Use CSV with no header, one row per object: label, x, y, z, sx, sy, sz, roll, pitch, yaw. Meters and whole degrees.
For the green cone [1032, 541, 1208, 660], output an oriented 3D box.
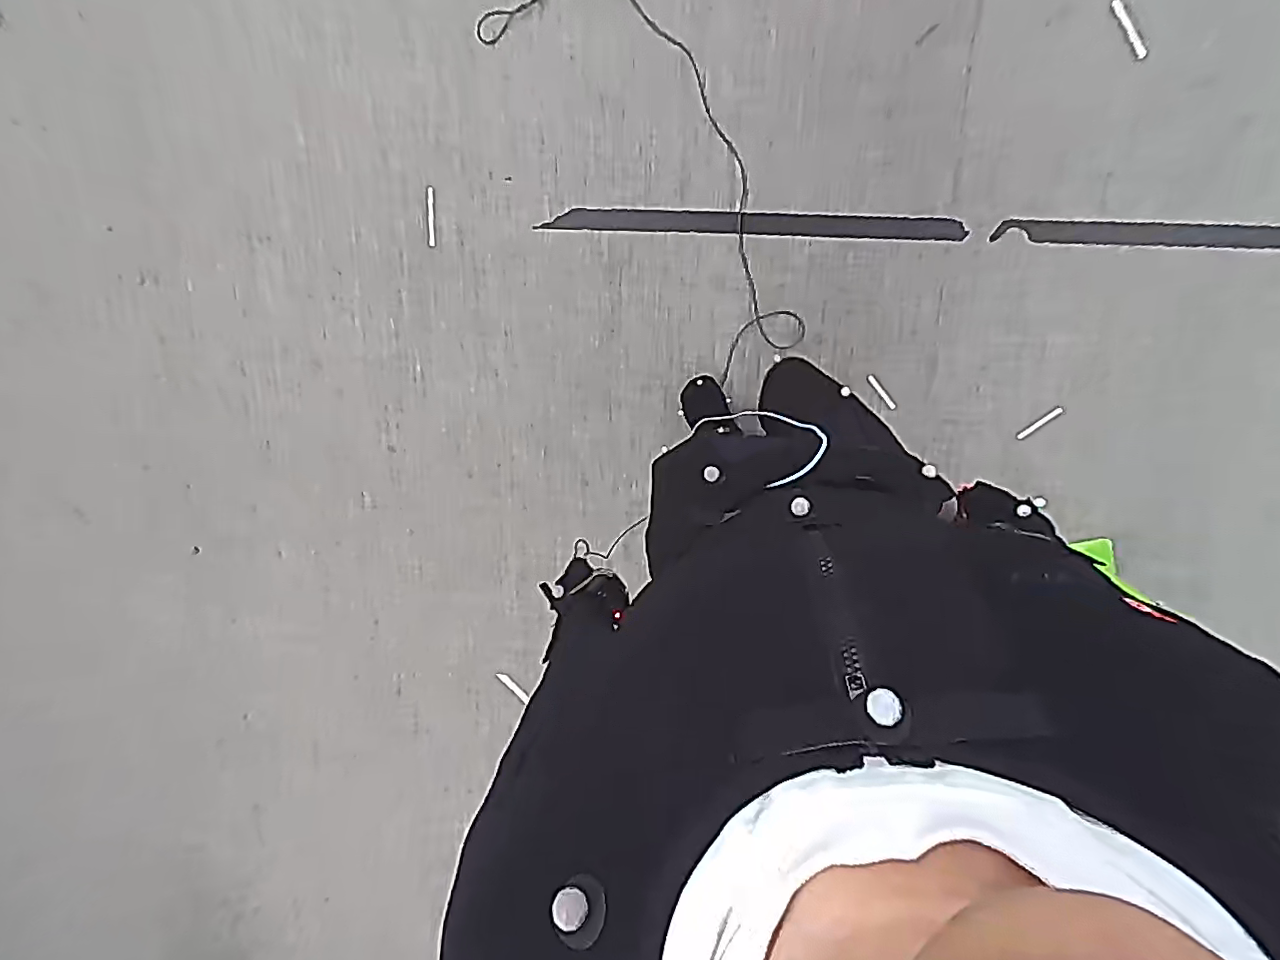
green cone,1.117,0.297,1.235,0.202,0.368,0.200,-13,99,8
